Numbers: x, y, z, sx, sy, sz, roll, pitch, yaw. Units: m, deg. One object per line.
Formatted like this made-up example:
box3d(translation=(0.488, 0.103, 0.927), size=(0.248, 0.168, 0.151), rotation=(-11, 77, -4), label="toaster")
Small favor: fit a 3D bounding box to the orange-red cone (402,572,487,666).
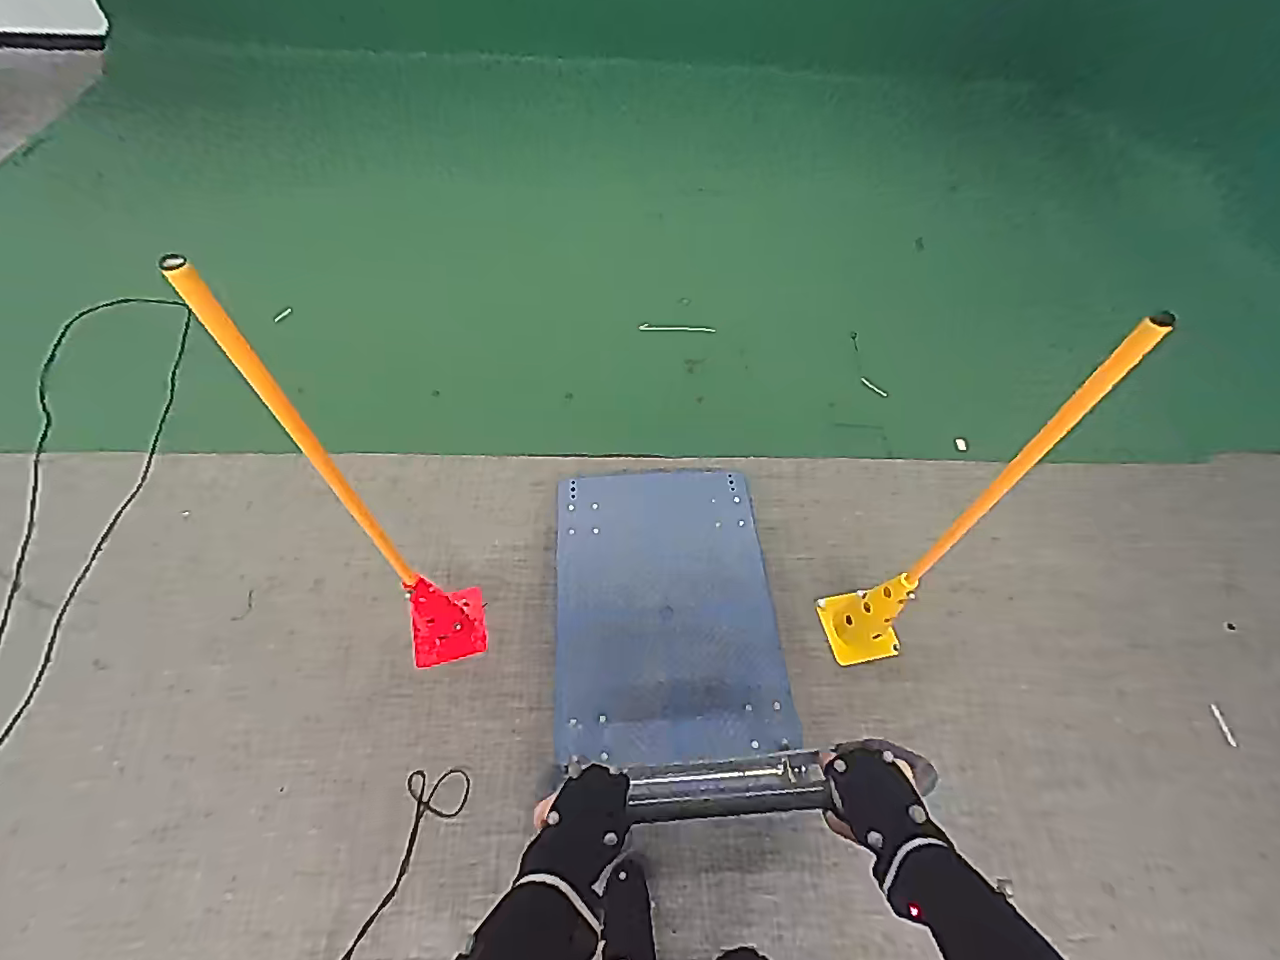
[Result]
box3d(translation=(-0.538, 0.324, 1.394), size=(0.199, 0.360, 0.198), rotation=(-12, 58, -9), label="orange-red cone")
